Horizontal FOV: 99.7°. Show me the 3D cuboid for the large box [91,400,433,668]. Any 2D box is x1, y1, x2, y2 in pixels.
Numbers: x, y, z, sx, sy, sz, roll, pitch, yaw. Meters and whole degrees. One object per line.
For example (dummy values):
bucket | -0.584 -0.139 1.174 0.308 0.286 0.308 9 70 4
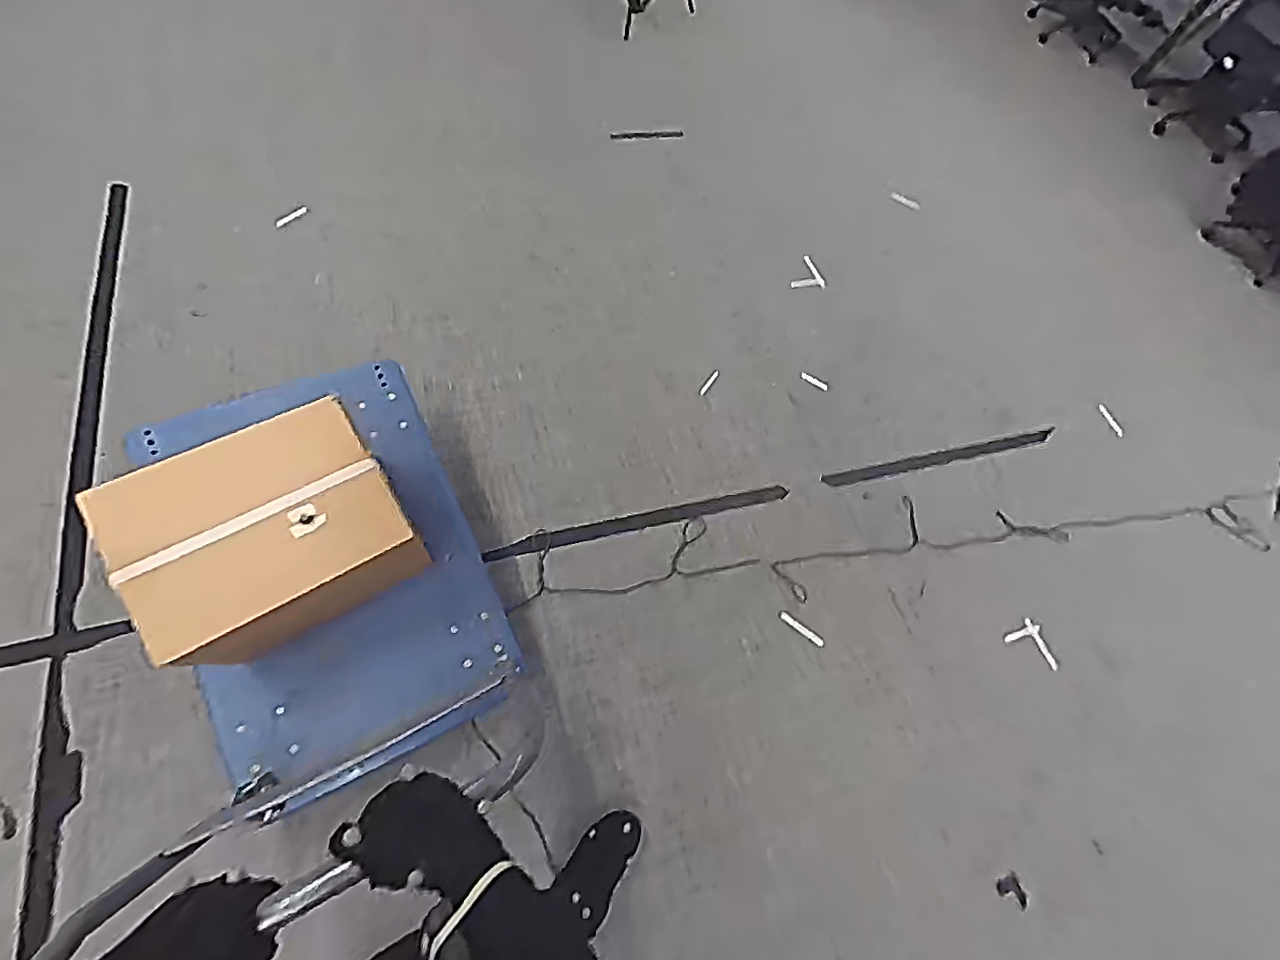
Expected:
large box | -0.674 0.116 1.047 0.408 0.320 0.320 -30 82 -22
